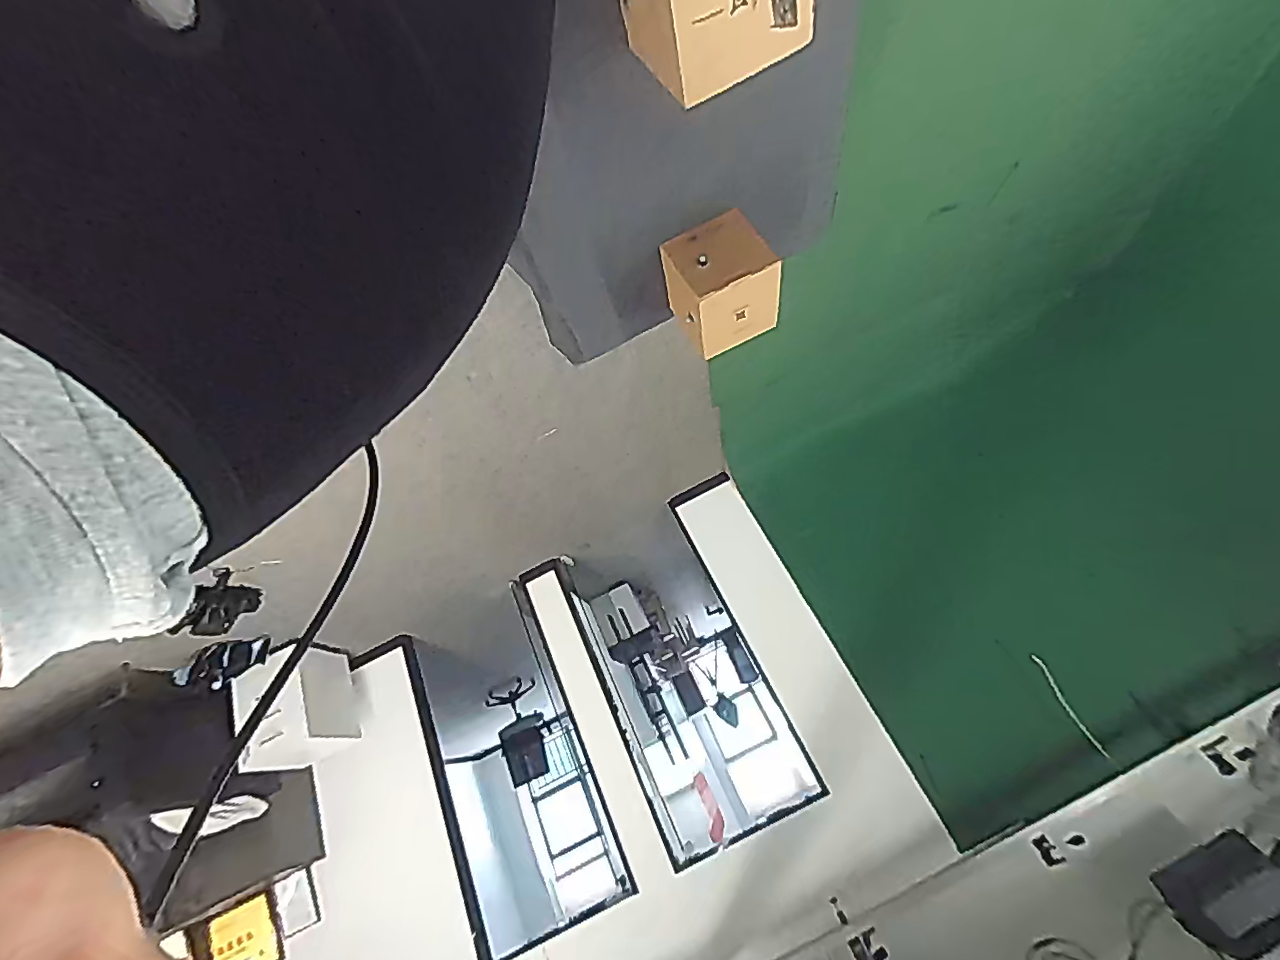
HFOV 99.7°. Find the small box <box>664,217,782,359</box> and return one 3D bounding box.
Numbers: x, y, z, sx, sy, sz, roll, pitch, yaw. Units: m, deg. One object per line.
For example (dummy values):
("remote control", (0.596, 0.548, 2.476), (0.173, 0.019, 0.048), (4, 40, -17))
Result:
("small box", (0.157, -0.378, 1.052), (0.168, 0.176, 0.179), (-25, 155, -1))

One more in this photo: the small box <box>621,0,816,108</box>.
("small box", (0.081, -0.579, 0.608), (0.179, 0.176, 0.168), (-27, 154, 1))
